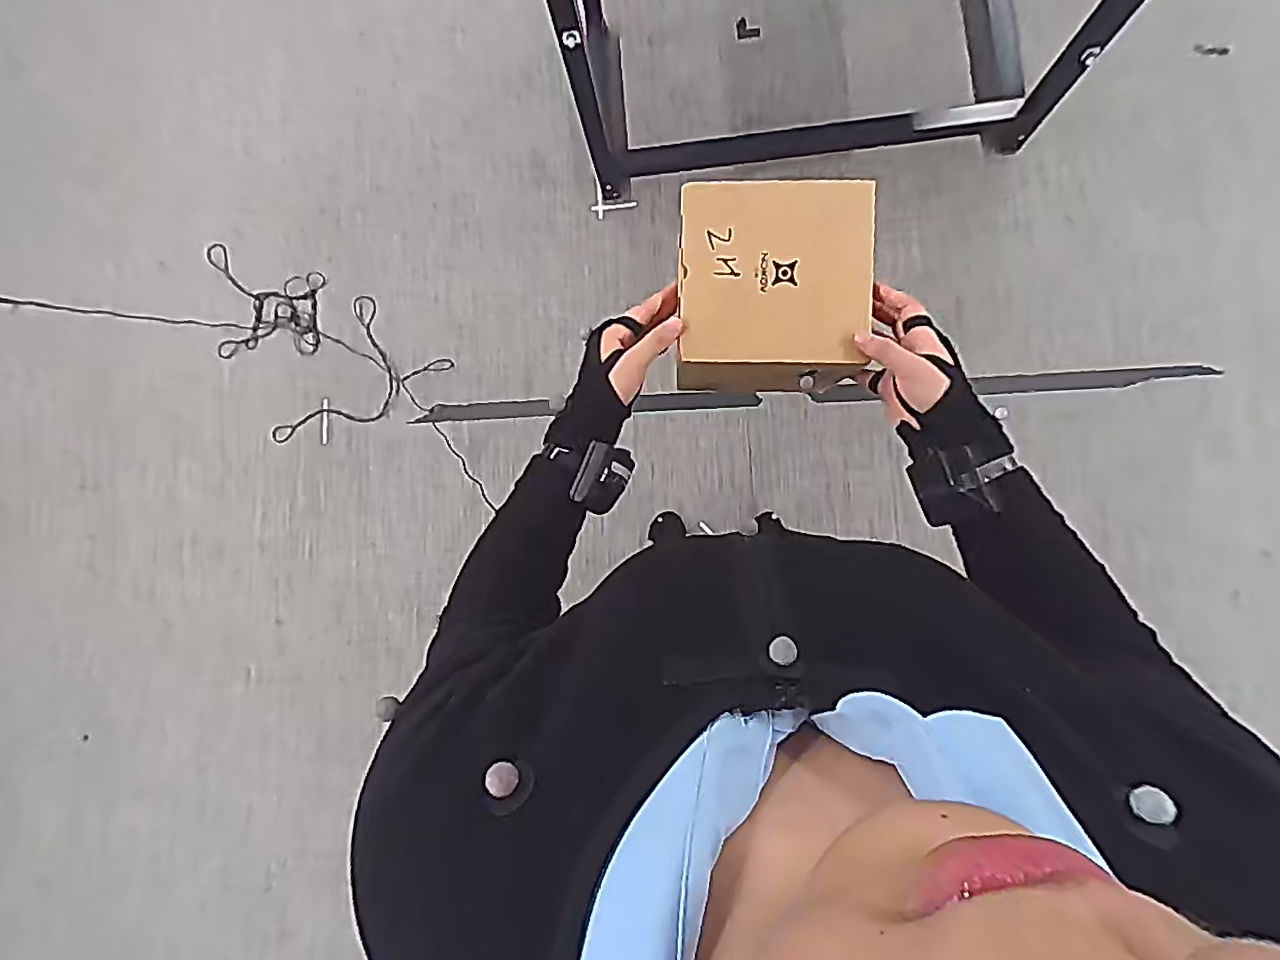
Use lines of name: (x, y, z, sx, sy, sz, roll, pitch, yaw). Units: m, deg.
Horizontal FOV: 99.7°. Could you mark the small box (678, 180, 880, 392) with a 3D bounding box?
small box: (0.131, -0.189, 0.569, 0.179, 0.176, 0.168, 2, 90, 4)
